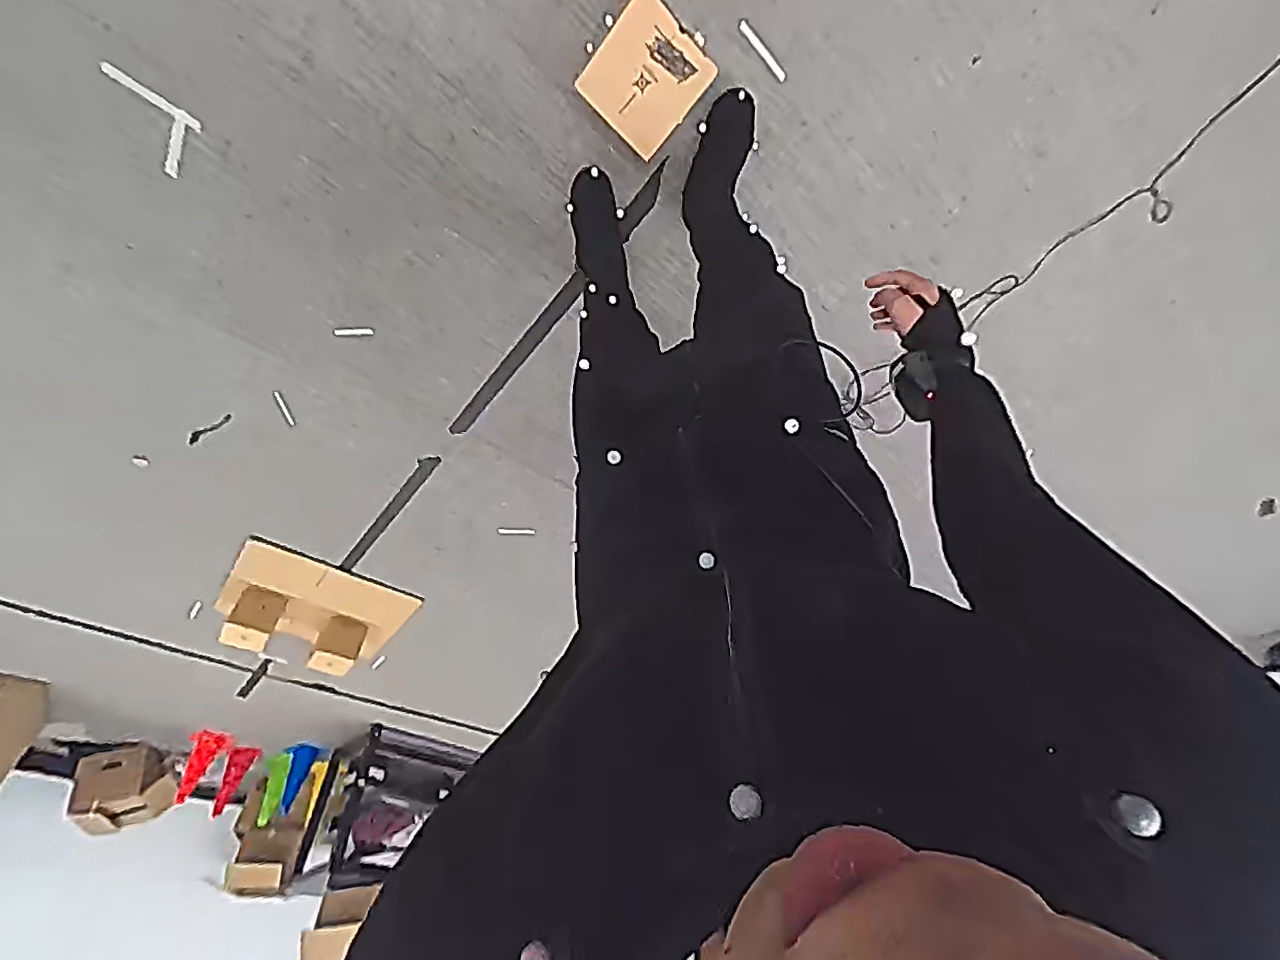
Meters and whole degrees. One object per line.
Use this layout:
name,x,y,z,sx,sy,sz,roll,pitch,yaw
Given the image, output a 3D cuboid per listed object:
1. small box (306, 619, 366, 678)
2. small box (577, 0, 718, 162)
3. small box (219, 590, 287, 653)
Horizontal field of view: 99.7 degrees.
small box,-1.353,0.753,2.417,0.168,0.176,0.179,29,125,-27
small box,0.008,-0.700,0.930,0.168,0.176,0.179,33,124,-28
small box,-1.618,0.593,2.264,0.168,0.176,0.179,27,126,-25
